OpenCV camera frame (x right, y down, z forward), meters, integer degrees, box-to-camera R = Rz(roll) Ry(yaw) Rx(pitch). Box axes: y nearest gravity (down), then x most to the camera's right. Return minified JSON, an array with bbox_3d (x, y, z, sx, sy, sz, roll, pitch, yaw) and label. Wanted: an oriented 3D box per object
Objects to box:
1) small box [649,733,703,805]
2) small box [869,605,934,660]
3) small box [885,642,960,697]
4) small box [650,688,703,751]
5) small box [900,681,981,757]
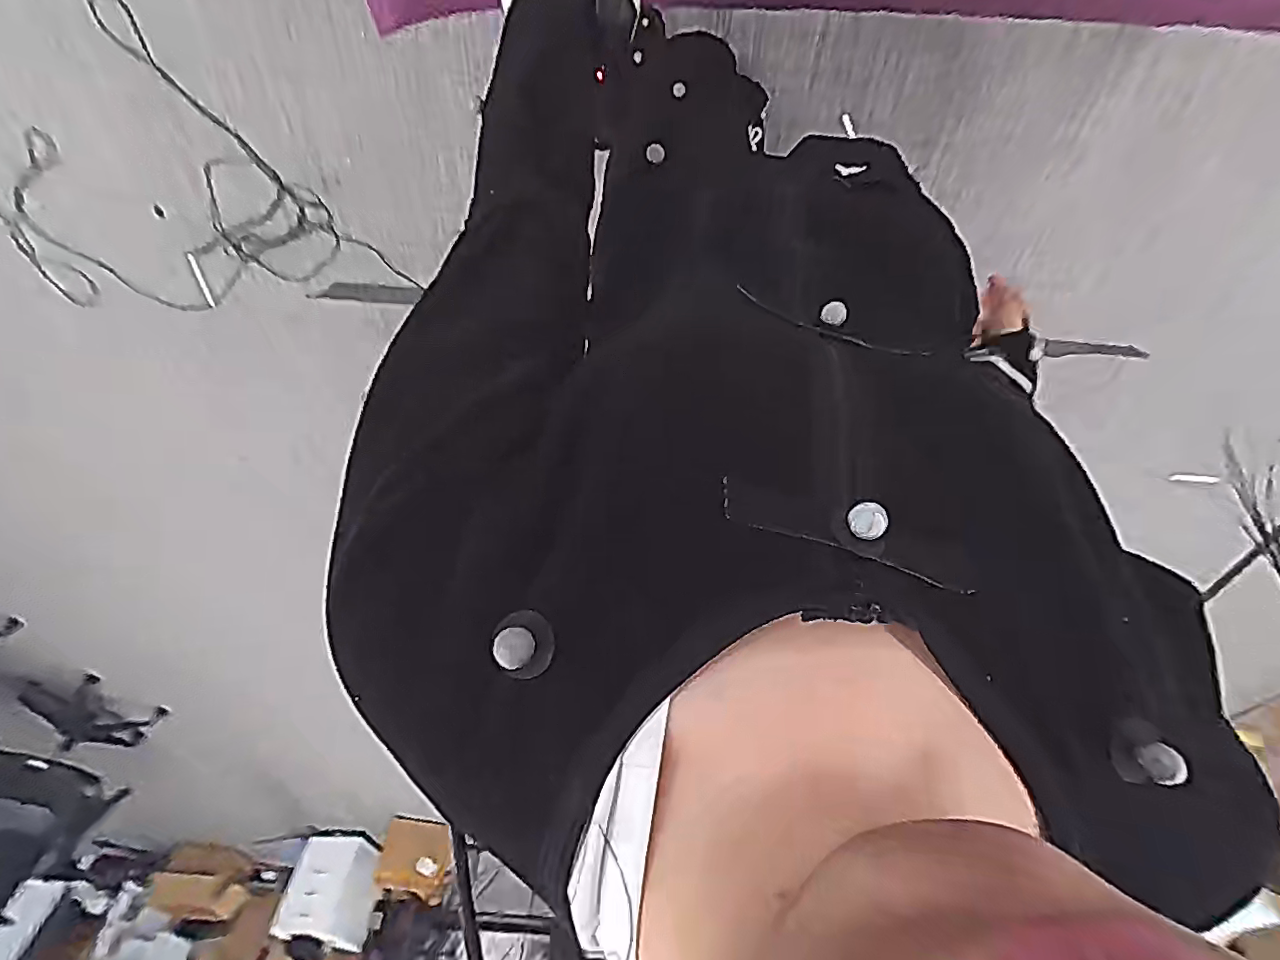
[{"bbox_3d":[0.122,1.005,1.887,0.168,0.176,0.179,6,128,-1],"label":"small box"},{"bbox_3d":[1.034,0.623,2.125,0.168,0.176,0.179,-35,119,27],"label":"small box"},{"bbox_3d":[1.034,0.720,1.990,0.168,0.176,0.179,-33,121,27],"label":"small box"},{"bbox_3d":[0.130,0.893,2.007,0.168,0.176,0.179,8,130,-3],"label":"small box"},{"bbox_3d":[1.026,0.815,1.859,0.168,0.176,0.179,-32,122,25],"label":"small box"}]
